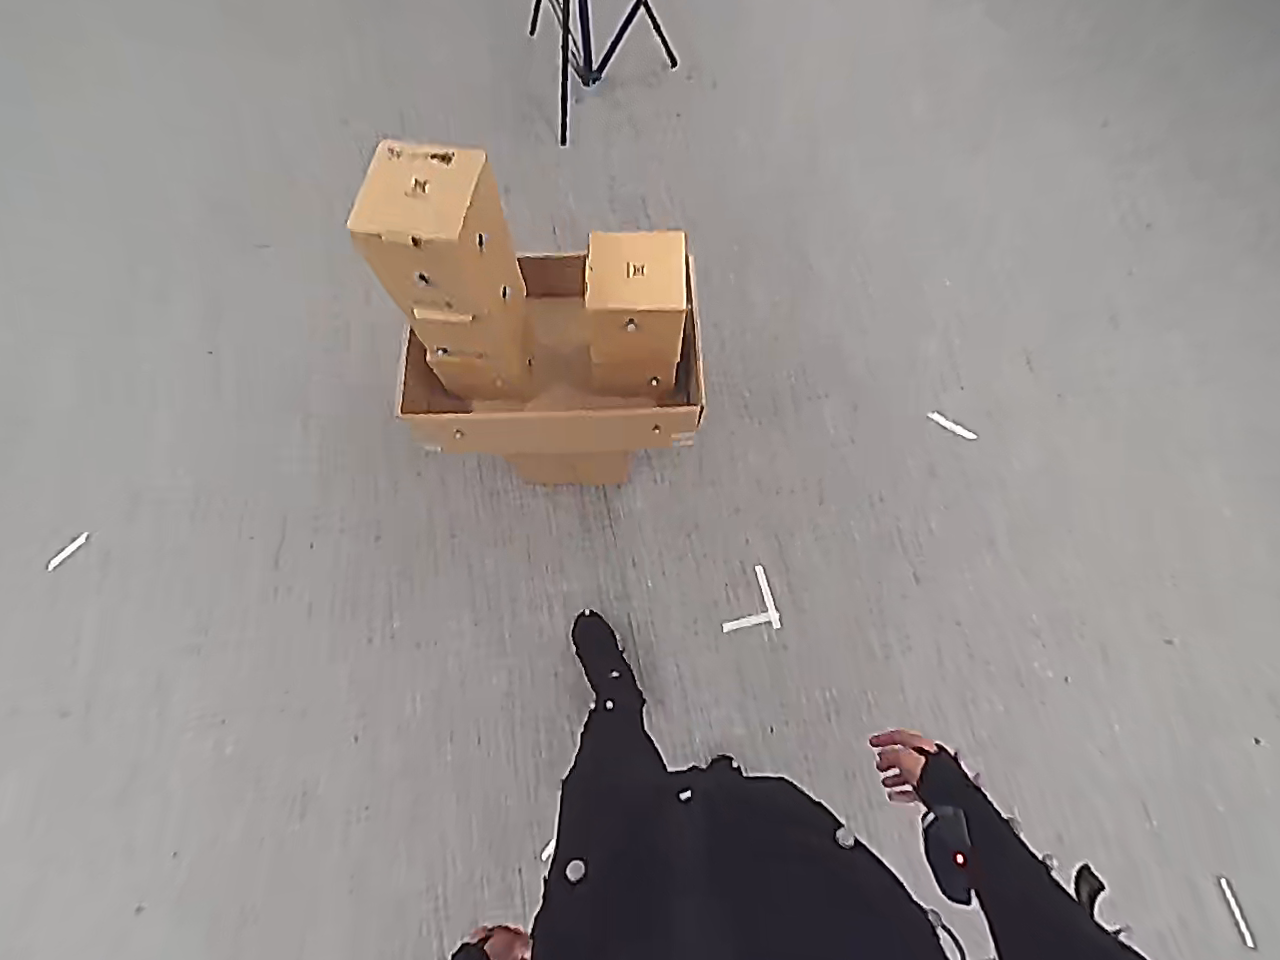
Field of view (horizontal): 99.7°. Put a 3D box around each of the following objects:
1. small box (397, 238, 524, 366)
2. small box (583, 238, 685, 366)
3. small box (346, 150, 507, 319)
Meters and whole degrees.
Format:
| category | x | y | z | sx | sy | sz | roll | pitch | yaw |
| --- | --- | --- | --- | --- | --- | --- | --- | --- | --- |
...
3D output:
| category | x | y | z | sx | sy | sz | roll | pitch | yaw |
| --- | --- | --- | --- | --- | --- | --- | --- | --- | --- |
| small box | -0.326 | -0.334 | 1.022 | 0.168 | 0.176 | 0.179 | 5 | 70 | 2 |
| small box | -0.009 | -0.329 | 1.021 | 0.179 | 0.176 | 0.168 | 0 | 70 | 1 |
| small box | -0.325 | -0.383 | 0.864 | 0.168 | 0.176 | 0.179 | 9 | 72 | 3 |
